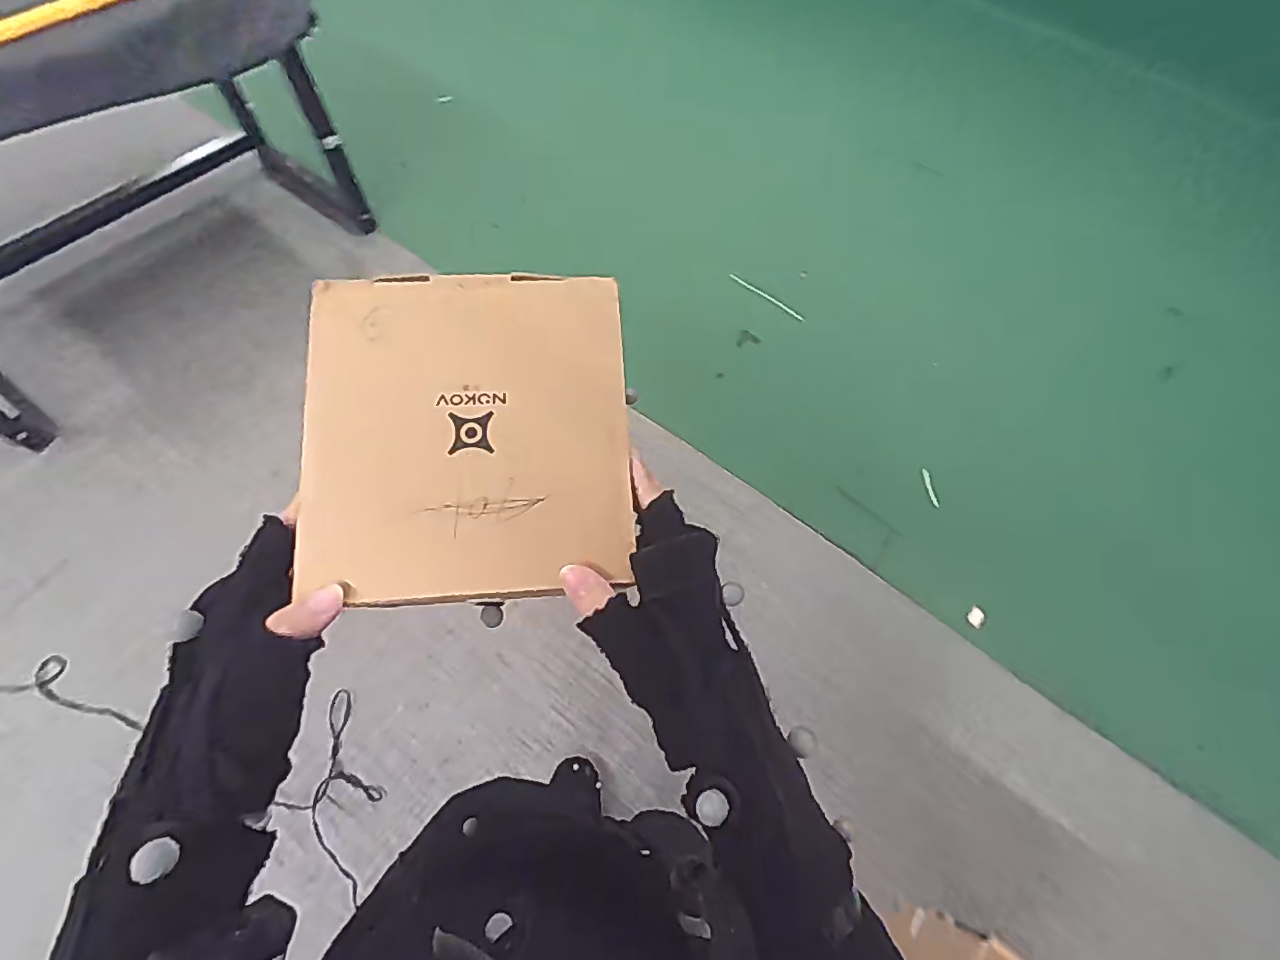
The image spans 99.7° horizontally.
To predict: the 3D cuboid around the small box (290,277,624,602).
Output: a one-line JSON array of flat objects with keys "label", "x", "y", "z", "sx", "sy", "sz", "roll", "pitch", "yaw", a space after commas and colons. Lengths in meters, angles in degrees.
[{"label": "small box", "x": -0.104, "y": -0.013, "z": 0.368, "sx": 0.168, "sy": 0.176, "sz": 0.179, "roll": -4, "pitch": 77, "yaw": -7}]
